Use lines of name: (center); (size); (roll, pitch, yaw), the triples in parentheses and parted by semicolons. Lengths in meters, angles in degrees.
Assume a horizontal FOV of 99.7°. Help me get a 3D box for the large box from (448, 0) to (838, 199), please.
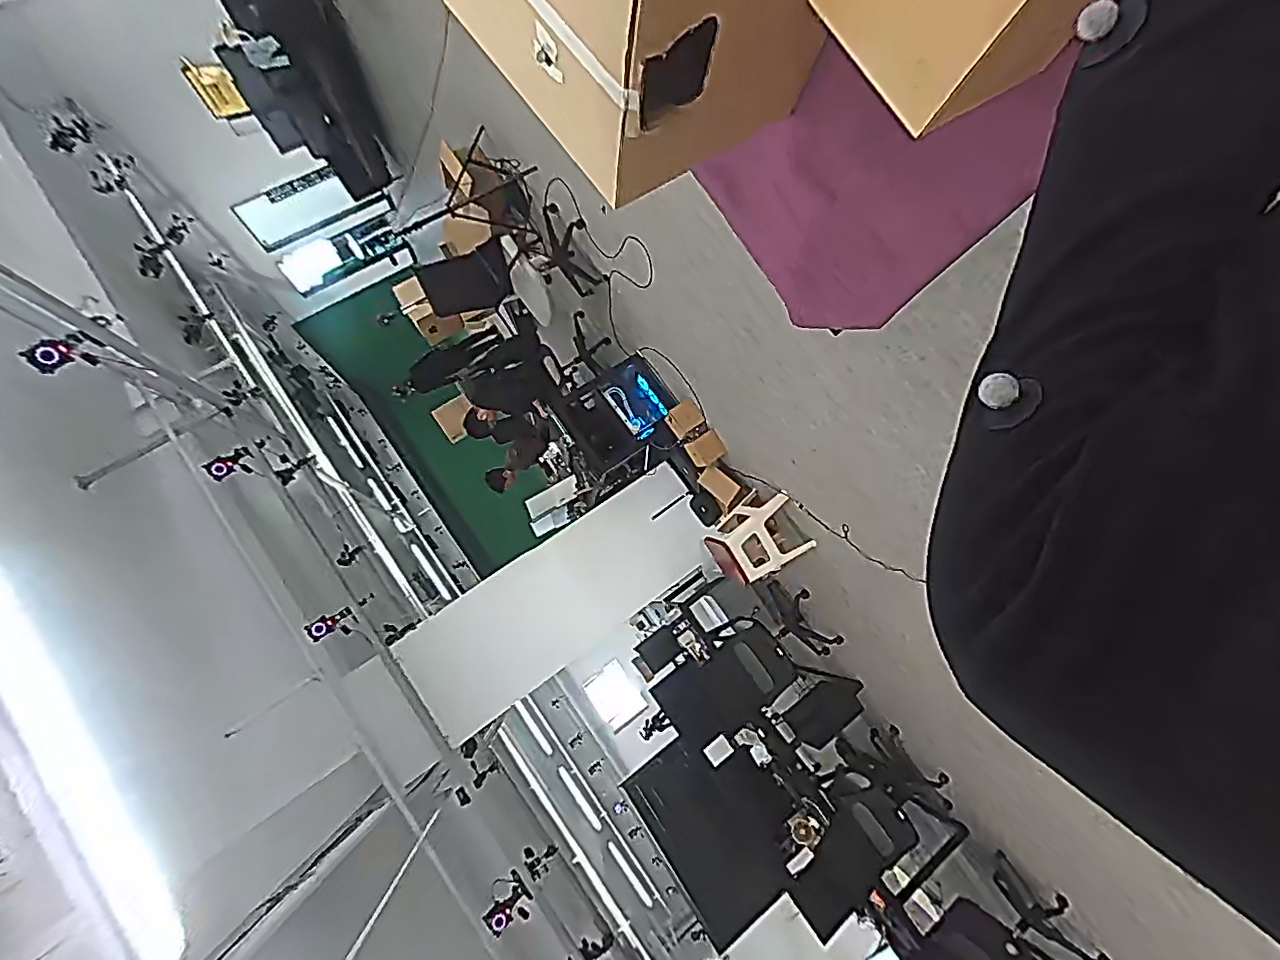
large box: (-0.006, -0.627, 0.598); (0.408, 0.320, 0.320); (51, 167, 8)
